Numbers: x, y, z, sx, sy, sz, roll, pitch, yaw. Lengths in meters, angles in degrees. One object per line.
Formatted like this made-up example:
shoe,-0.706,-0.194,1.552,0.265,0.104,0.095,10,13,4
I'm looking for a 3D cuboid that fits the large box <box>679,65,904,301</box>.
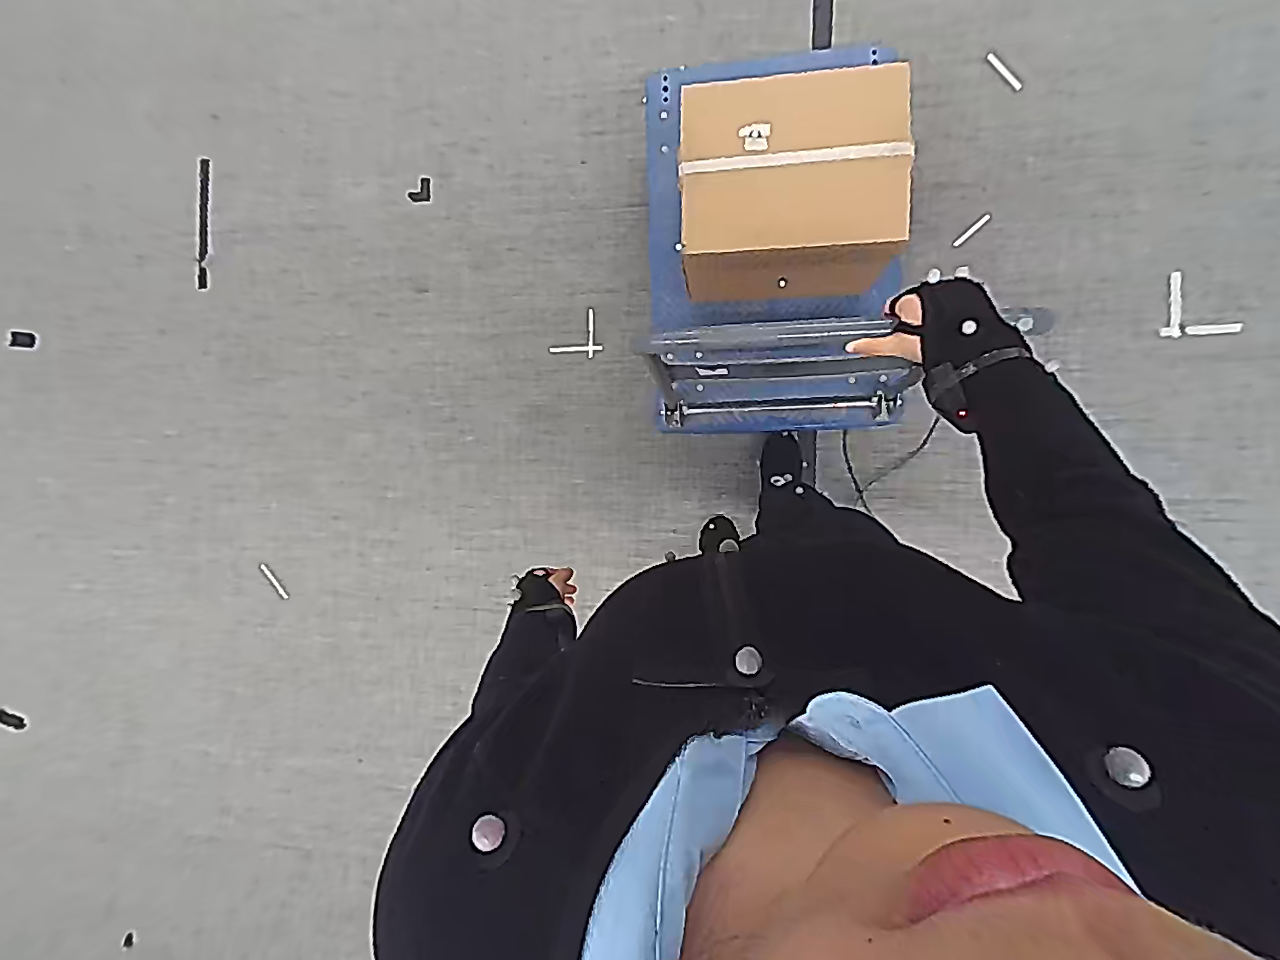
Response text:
large box,0.300,-0.588,1.144,0.408,0.320,0.320,-1,91,9
